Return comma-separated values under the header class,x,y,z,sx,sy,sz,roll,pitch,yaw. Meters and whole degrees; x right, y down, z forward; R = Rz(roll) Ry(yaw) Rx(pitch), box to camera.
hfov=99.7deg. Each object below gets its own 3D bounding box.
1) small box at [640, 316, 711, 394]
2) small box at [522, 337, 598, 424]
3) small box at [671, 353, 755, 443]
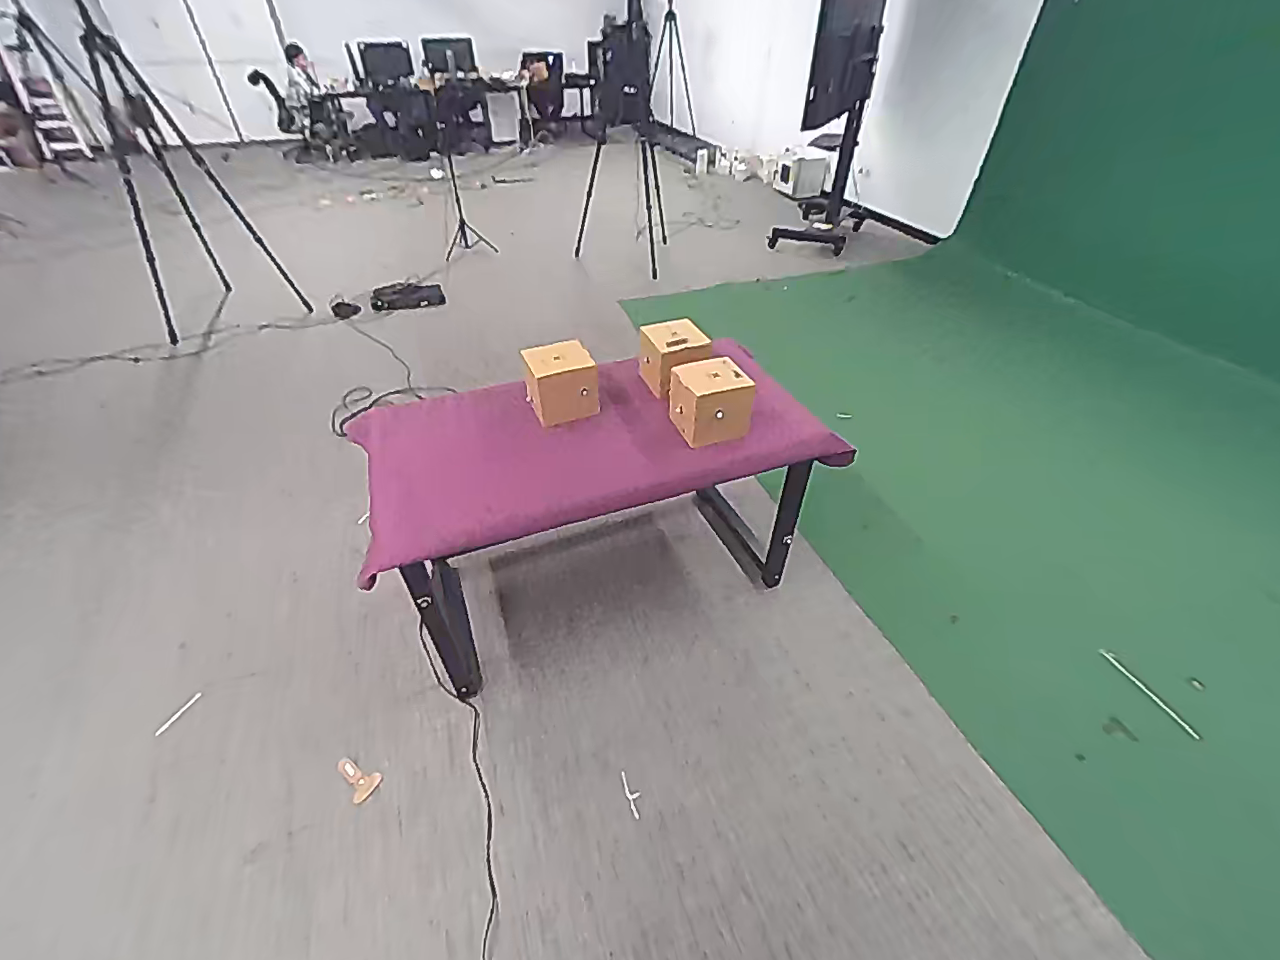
class,x,y,z,sx,sy,sz,roll,pitch,yaw
small box,0.106,-0.378,1.661,0.168,0.176,0.179,-15,43,-15
small box,-0.228,-0.287,1.562,0.179,0.176,0.168,-16,44,-17
small box,0.195,-0.223,1.485,0.179,0.176,0.168,-14,43,-14
